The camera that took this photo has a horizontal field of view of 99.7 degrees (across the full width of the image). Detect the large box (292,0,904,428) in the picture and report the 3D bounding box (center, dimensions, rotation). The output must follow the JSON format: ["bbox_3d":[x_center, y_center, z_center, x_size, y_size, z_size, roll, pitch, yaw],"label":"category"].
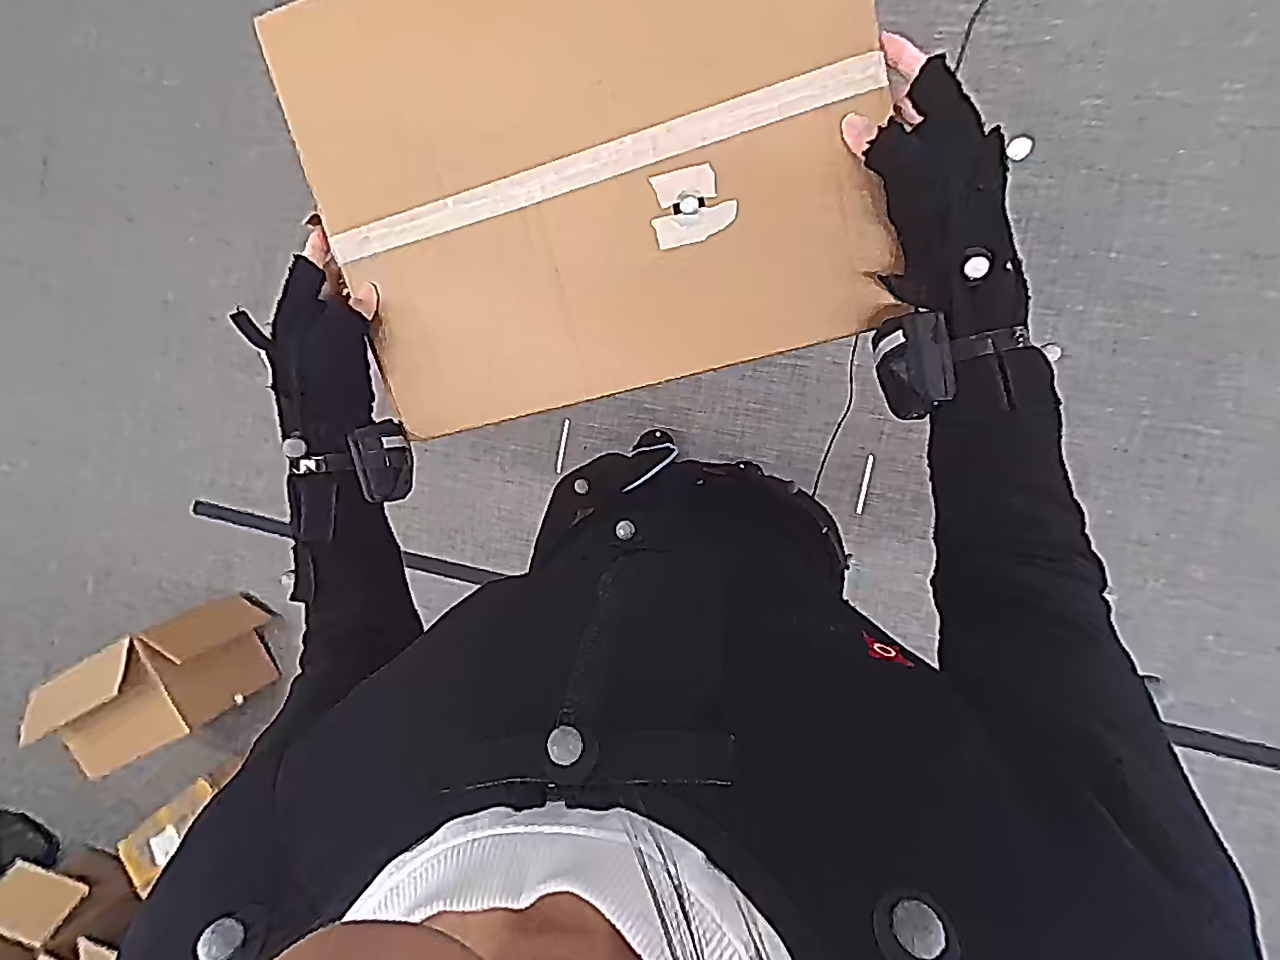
[{"bbox_3d":[-0.016,-0.266,0.538,0.408,0.320,0.320,-12,104,10],"label":"large box"}]
